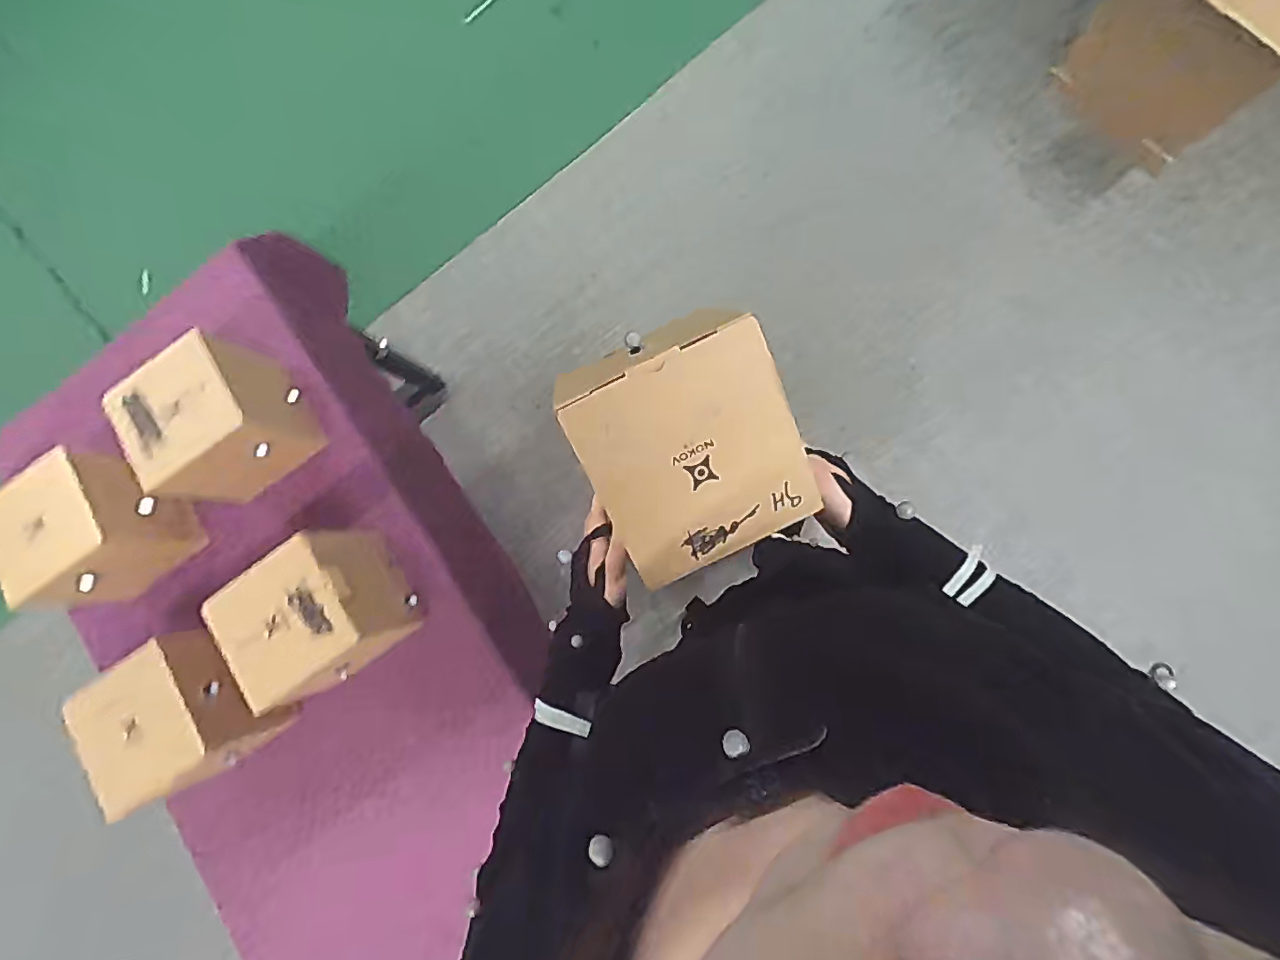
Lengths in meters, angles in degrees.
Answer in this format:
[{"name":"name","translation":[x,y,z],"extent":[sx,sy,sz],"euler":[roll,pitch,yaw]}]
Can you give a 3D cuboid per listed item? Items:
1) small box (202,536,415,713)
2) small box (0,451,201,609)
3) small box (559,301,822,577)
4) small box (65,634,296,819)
[{"name":"small box","translation":[-0.456,0.193,0.778],"extent":[0.179,0.176,0.168],"euler":[-36,80,5]},{"name":"small box","translation":[-0.846,0.077,0.851],"extent":[0.179,0.176,0.168],"euler":[-34,80,4]},{"name":"small box","translation":[0.035,-0.048,0.498],"extent":[0.168,0.176,0.179],"euler":[-25,109,1]},{"name":"small box","translation":[-0.658,0.339,0.795],"extent":[0.168,0.176,0.179],"euler":[-34,79,3]}]
